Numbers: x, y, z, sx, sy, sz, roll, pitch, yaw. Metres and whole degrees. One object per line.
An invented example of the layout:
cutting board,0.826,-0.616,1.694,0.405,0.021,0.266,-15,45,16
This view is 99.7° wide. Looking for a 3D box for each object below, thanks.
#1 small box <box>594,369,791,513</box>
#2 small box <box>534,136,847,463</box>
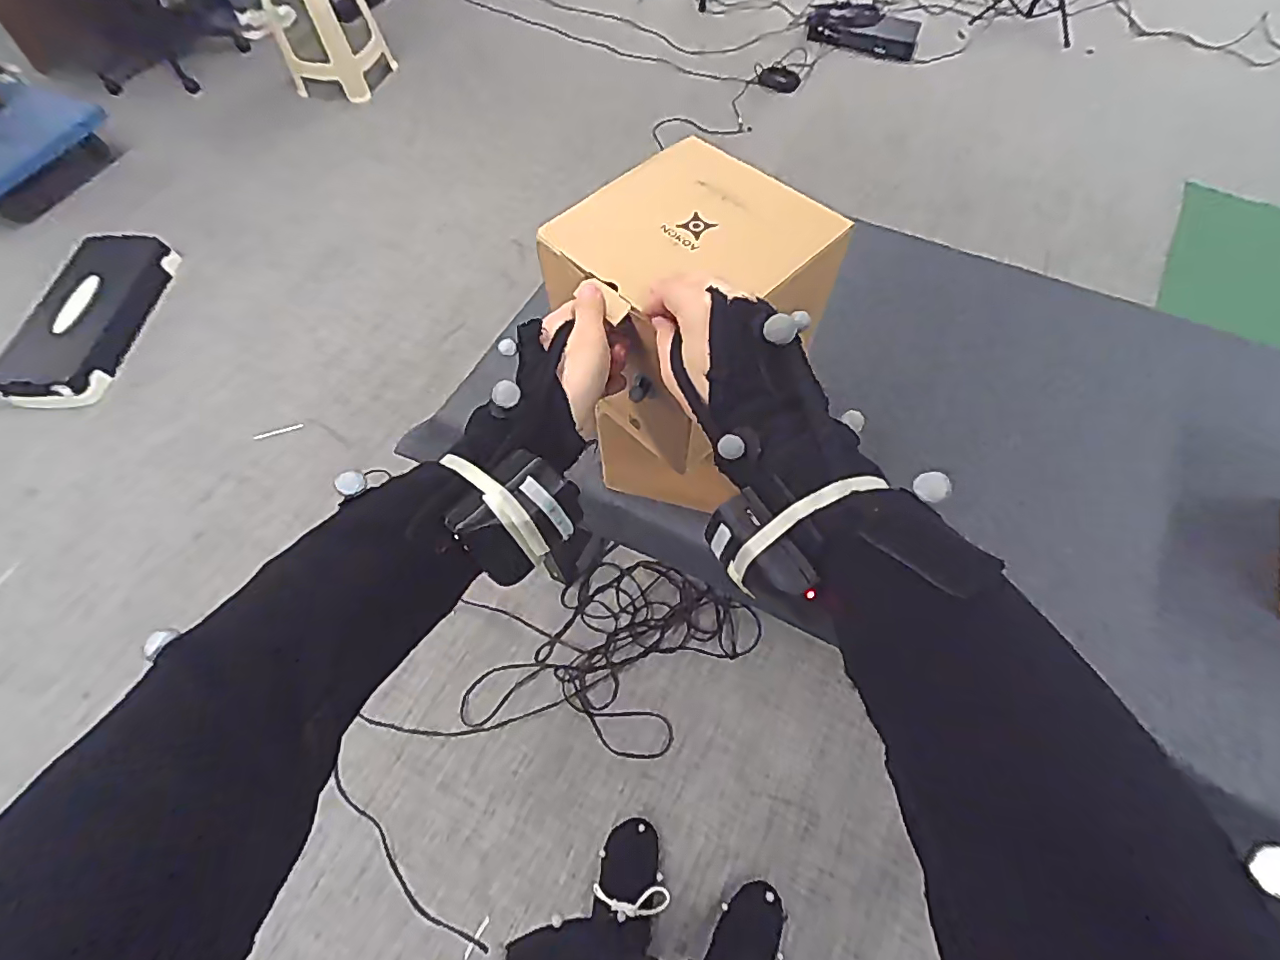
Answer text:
small box,0.063,-0.079,0.614,0.179,0.176,0.168,14,63,9
small box,0.039,-0.146,0.467,0.179,0.176,0.168,-41,69,-19
